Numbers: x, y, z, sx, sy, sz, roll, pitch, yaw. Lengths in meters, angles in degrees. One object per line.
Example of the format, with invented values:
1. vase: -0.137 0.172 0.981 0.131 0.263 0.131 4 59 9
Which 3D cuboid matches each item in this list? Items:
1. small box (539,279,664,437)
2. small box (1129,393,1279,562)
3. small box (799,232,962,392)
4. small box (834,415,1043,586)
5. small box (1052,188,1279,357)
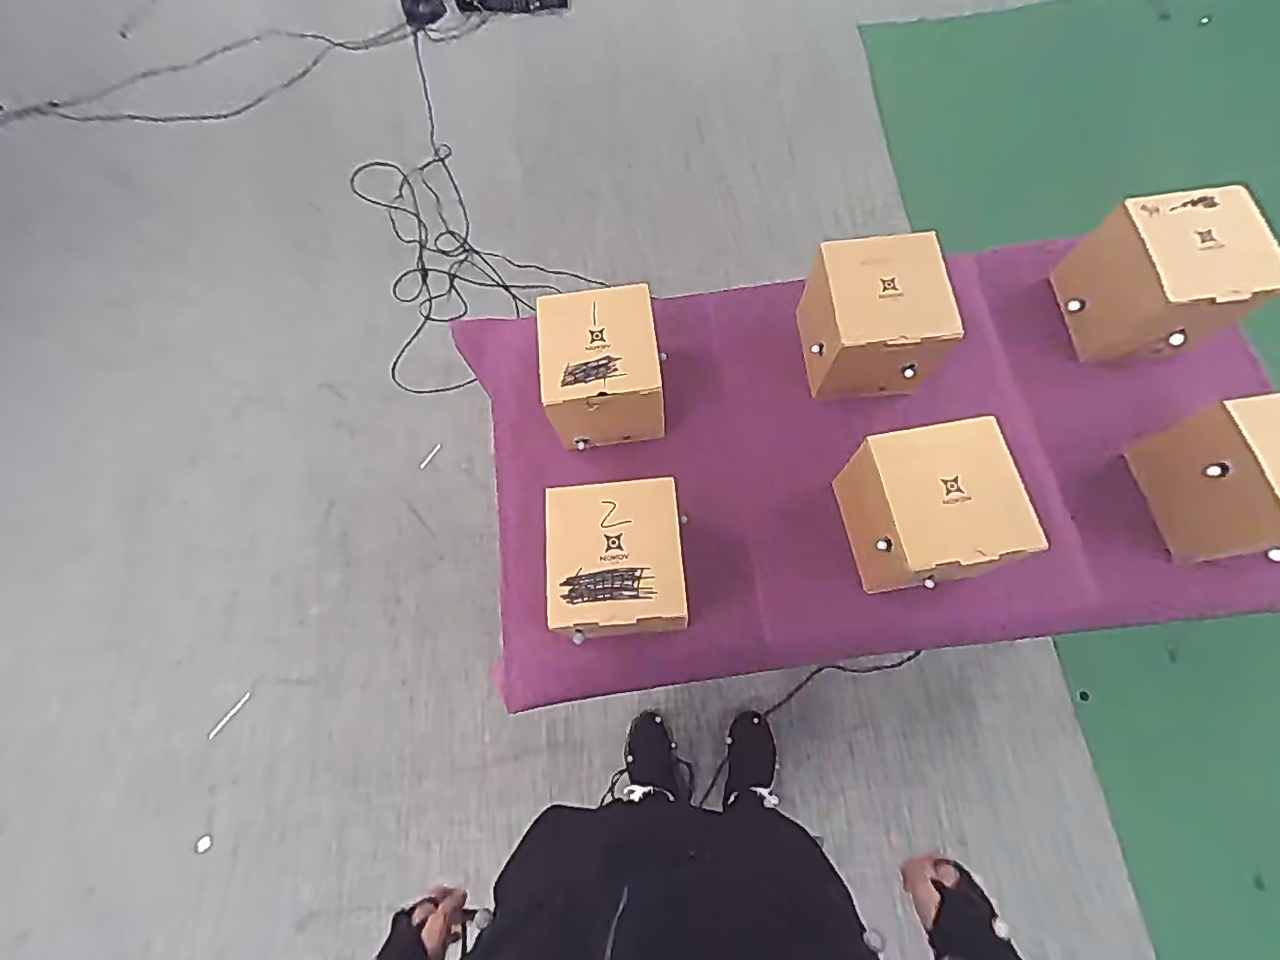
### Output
1. small box: -0.053 -0.174 0.828 0.168 0.176 0.179 -6 71 1
2. small box: 0.811 -0.001 0.711 0.168 0.176 0.179 -8 71 3
3. small box: 0.353 -0.245 0.828 0.168 0.176 0.179 -4 71 2
4. small box: 0.382 0.035 0.732 0.168 0.176 0.179 -9 71 0
5. small box: 0.776 -0.298 0.814 0.168 0.176 0.179 -6 74 2
